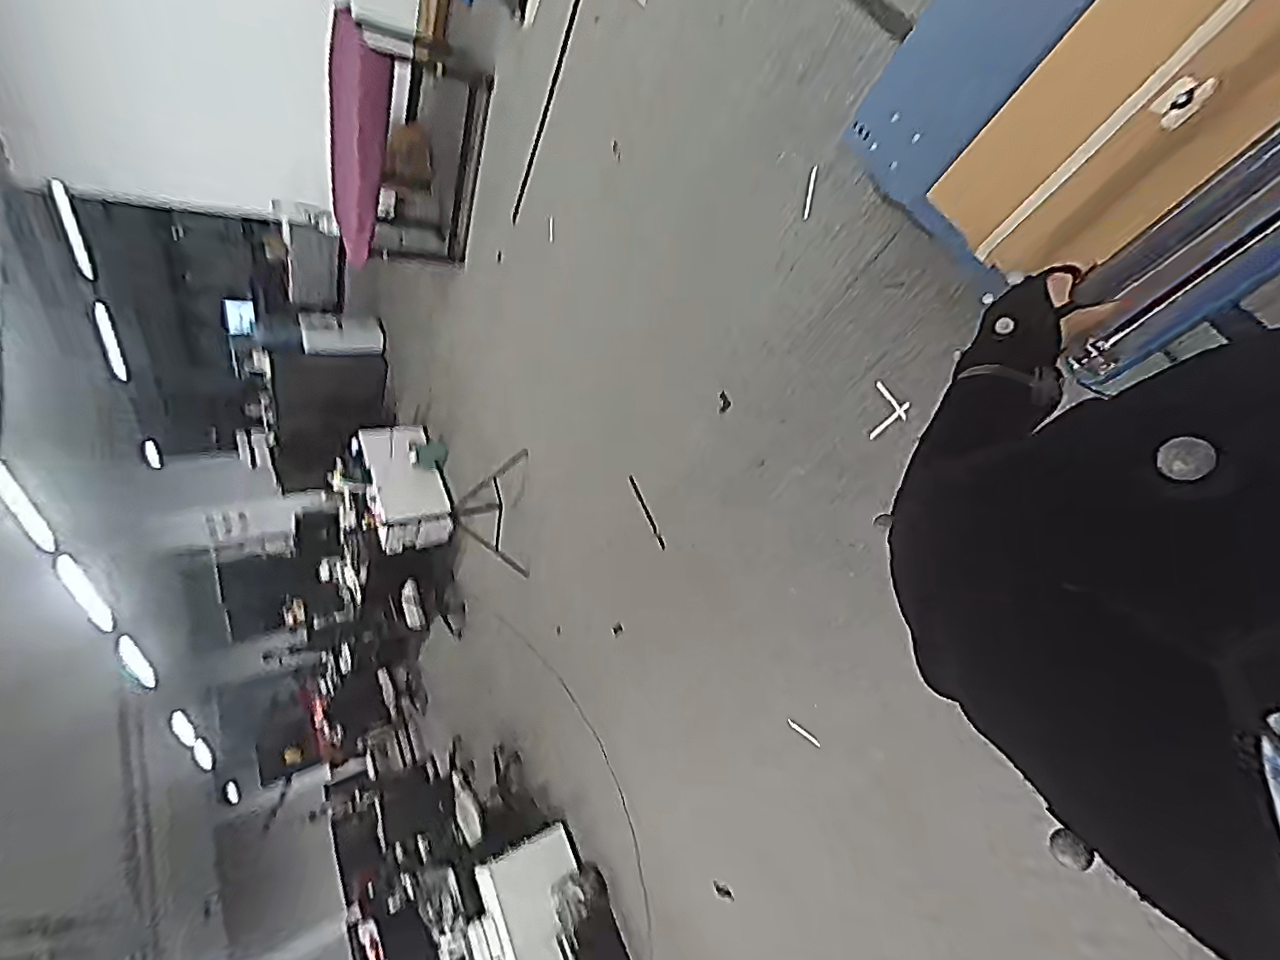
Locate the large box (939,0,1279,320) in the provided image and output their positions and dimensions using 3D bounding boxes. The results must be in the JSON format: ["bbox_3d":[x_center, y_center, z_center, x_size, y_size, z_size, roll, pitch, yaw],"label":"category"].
[{"bbox_3d":[0.800,-0.519,0.864,0.408,0.320,0.320,-51,58,44],"label":"large box"}]
